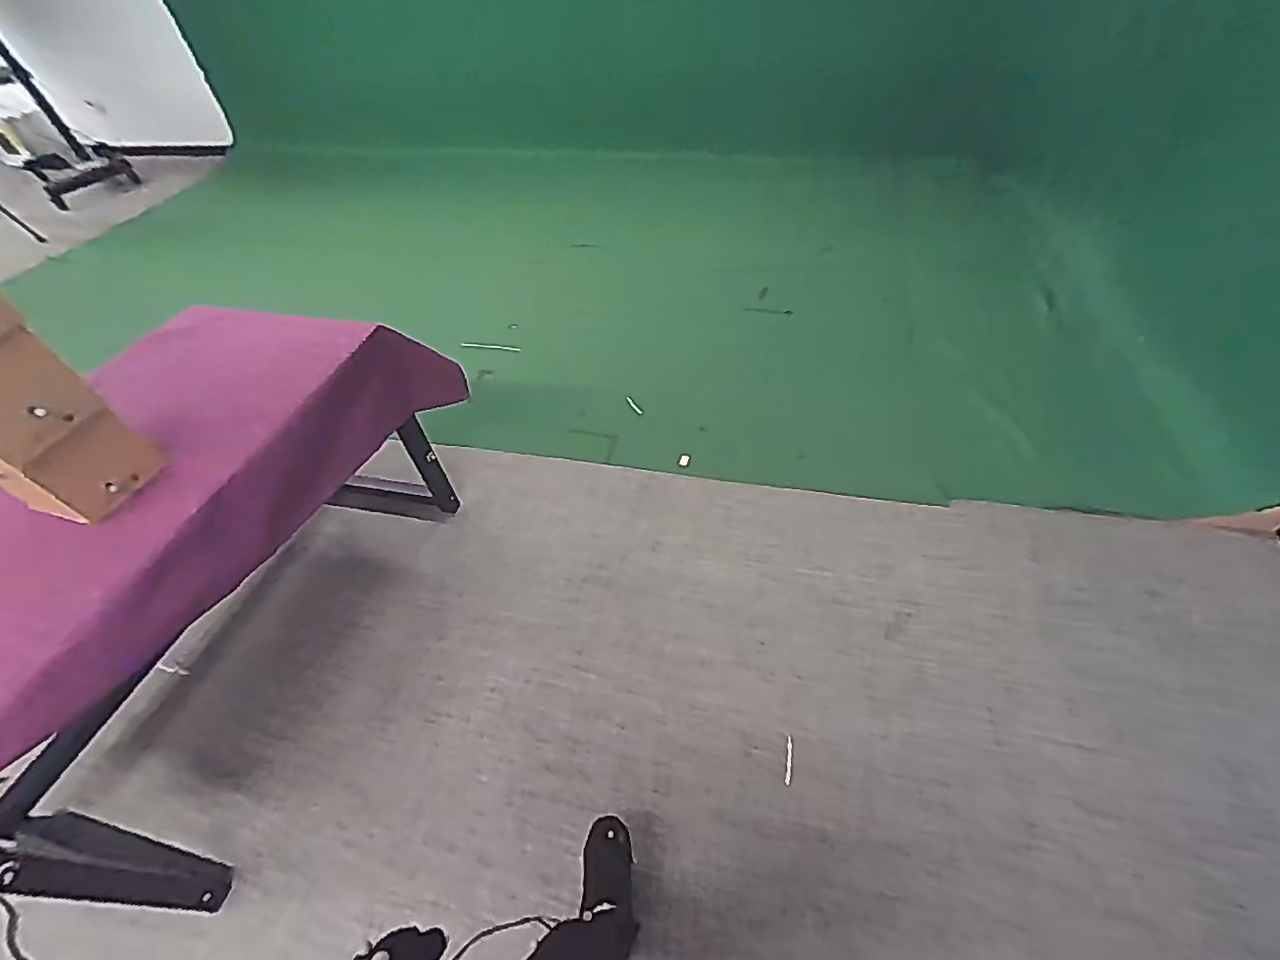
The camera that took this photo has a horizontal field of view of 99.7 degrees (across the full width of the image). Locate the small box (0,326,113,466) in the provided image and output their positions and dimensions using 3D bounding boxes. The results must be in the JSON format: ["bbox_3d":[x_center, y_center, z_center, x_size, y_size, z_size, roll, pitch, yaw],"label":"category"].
[{"bbox_3d":[-1.048,-0.142,0.881,0.179,0.176,0.168,10,51,14],"label":"small box"}]

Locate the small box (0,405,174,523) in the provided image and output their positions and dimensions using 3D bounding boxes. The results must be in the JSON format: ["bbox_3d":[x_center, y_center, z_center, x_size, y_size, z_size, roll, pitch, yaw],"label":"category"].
[{"bbox_3d":[-1.050,-0.040,1.010,0.179,0.176,0.168,12,51,14],"label":"small box"}]
